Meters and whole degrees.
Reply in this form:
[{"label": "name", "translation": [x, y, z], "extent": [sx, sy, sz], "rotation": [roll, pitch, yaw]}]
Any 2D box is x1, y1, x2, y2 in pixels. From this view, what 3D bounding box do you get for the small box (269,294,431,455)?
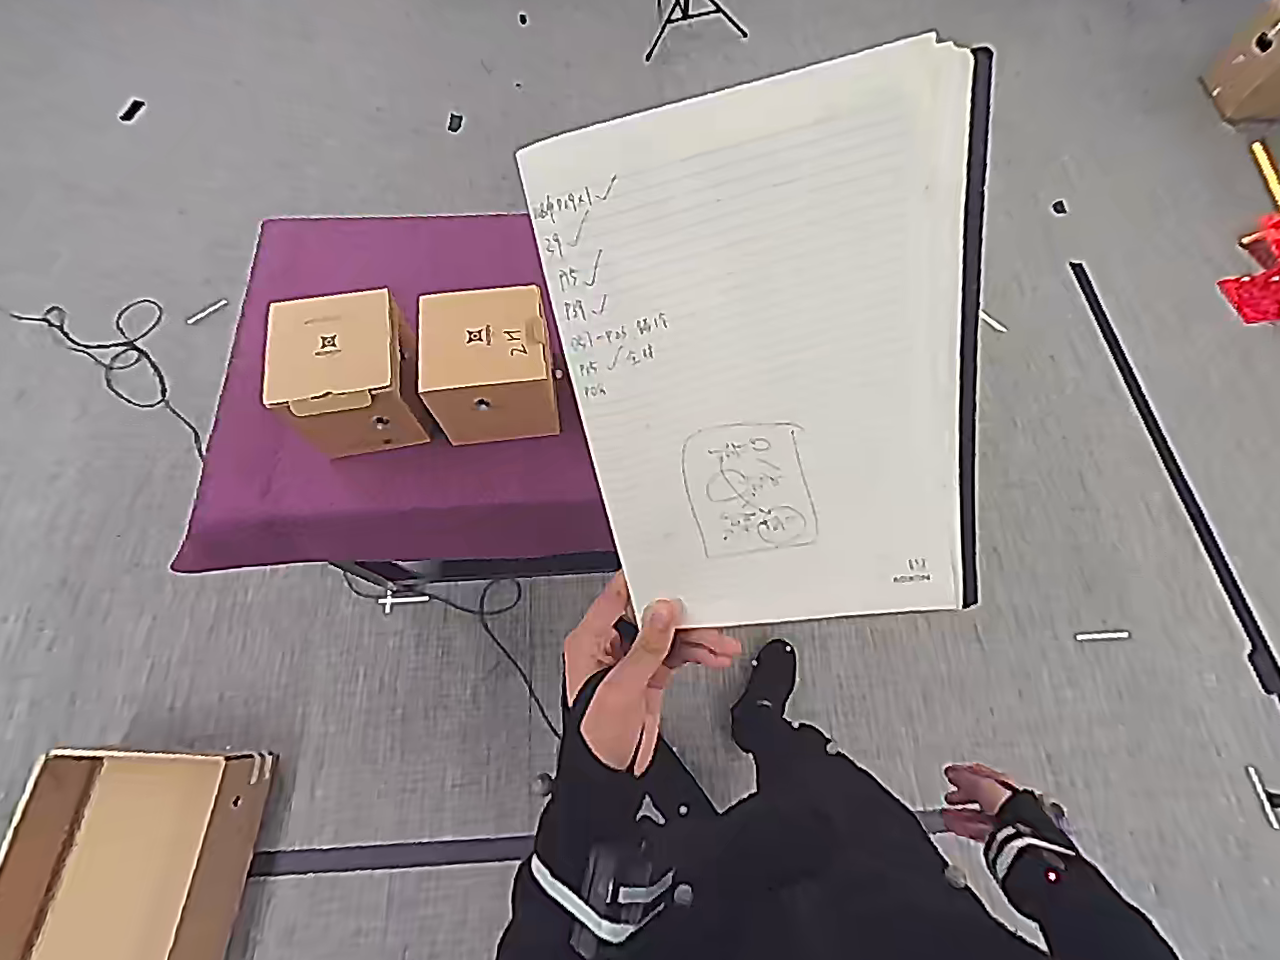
[{"label": "small box", "translation": [-0.430, -0.150, 0.826], "extent": [0.168, 0.176, 0.179], "rotation": [-10, 68, -6]}]
